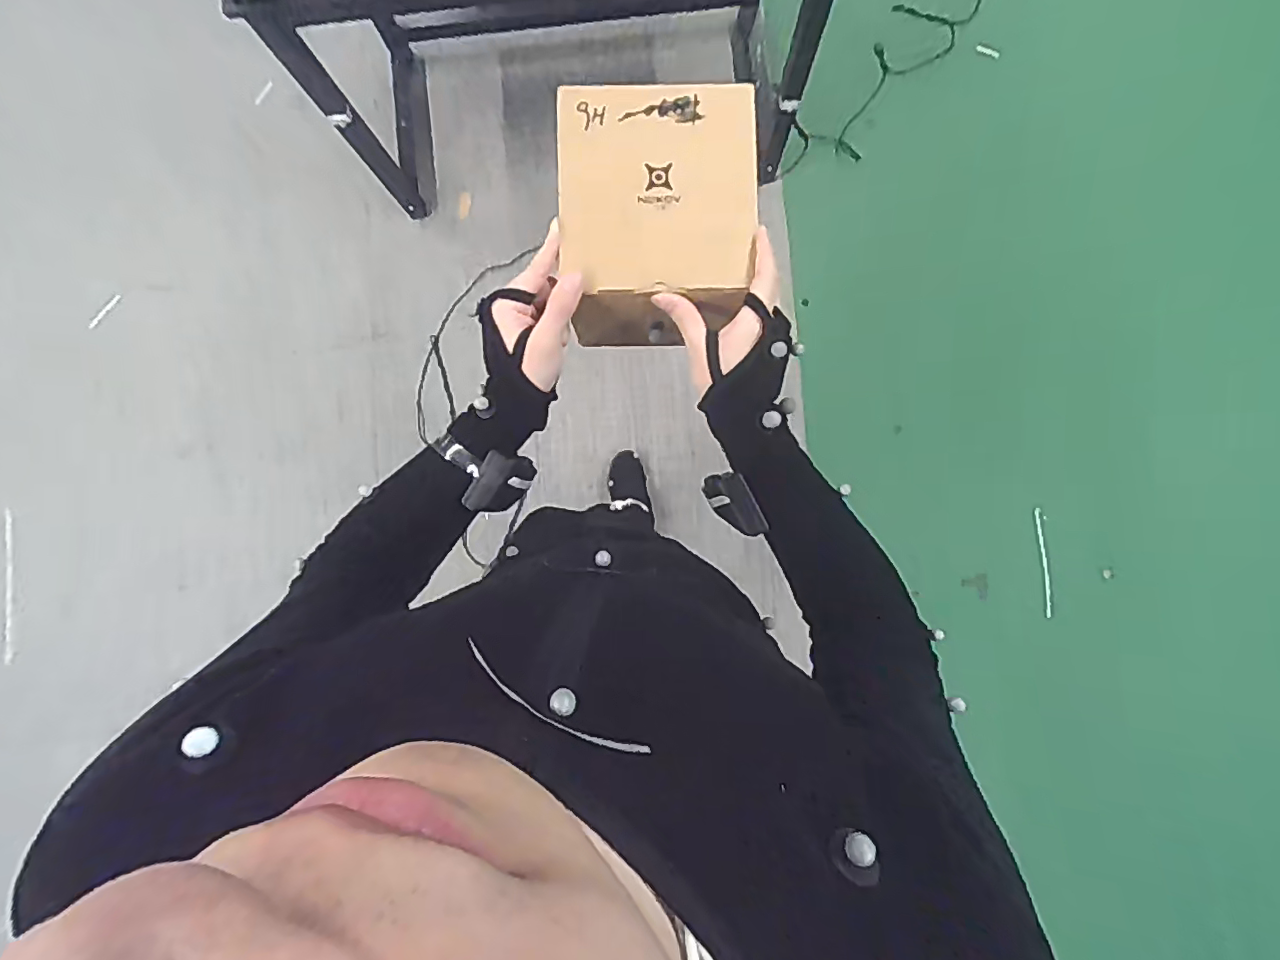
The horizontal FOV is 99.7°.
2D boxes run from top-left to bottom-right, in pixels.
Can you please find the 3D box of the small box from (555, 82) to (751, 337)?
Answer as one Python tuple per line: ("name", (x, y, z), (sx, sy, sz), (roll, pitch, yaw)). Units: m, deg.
("small box", (0.012, -0.243, 0.530), (0.168, 0.176, 0.179), (-1, 90, 0))
